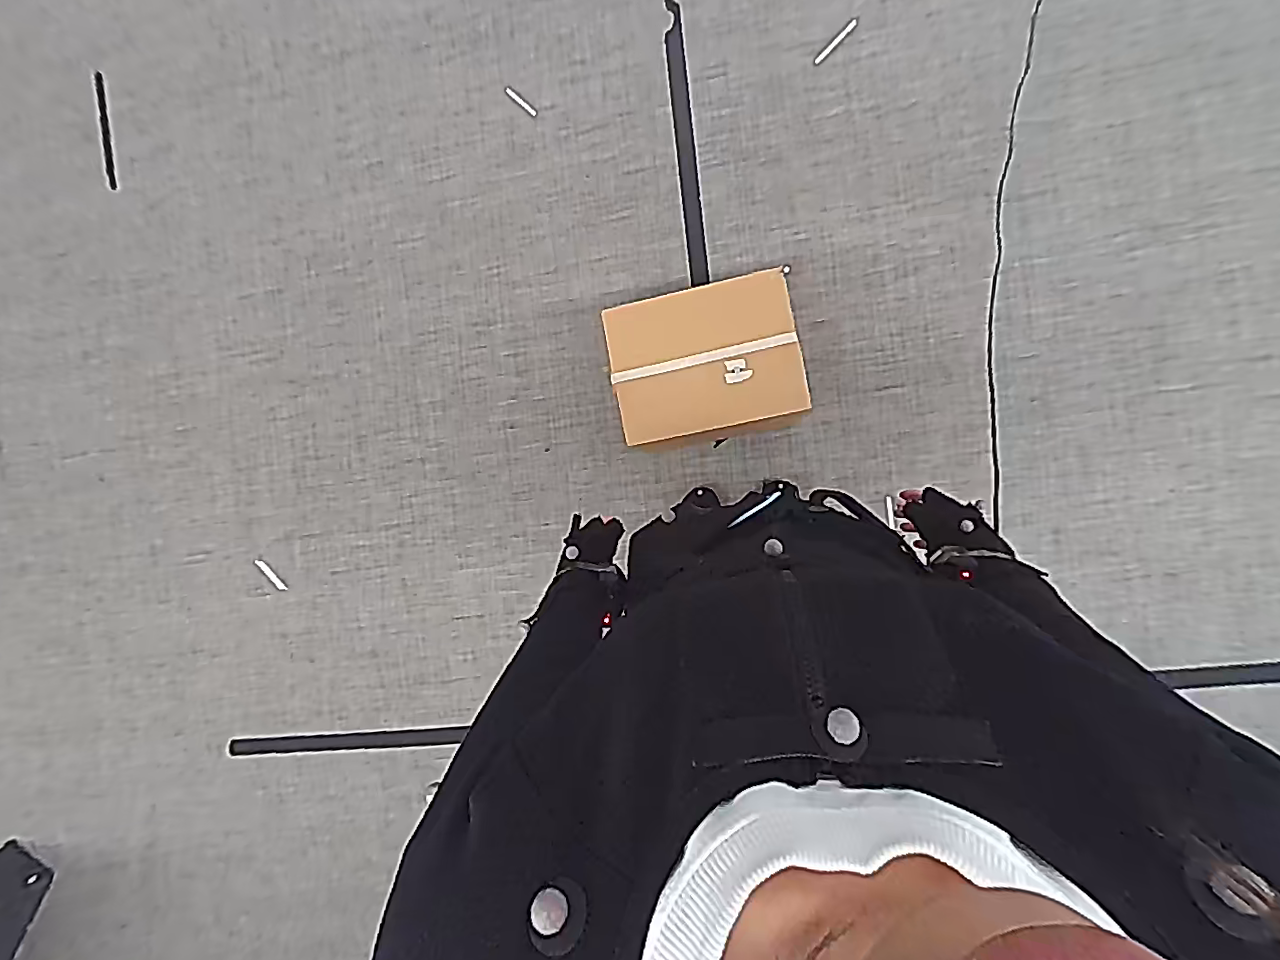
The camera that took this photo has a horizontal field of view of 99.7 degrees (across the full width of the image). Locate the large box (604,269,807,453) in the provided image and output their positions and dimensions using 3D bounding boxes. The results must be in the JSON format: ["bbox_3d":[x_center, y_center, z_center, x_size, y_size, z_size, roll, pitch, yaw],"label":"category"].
[{"bbox_3d":[0.158,-0.266,1.335,0.408,0.320,0.320,-11,88,8],"label":"large box"}]
